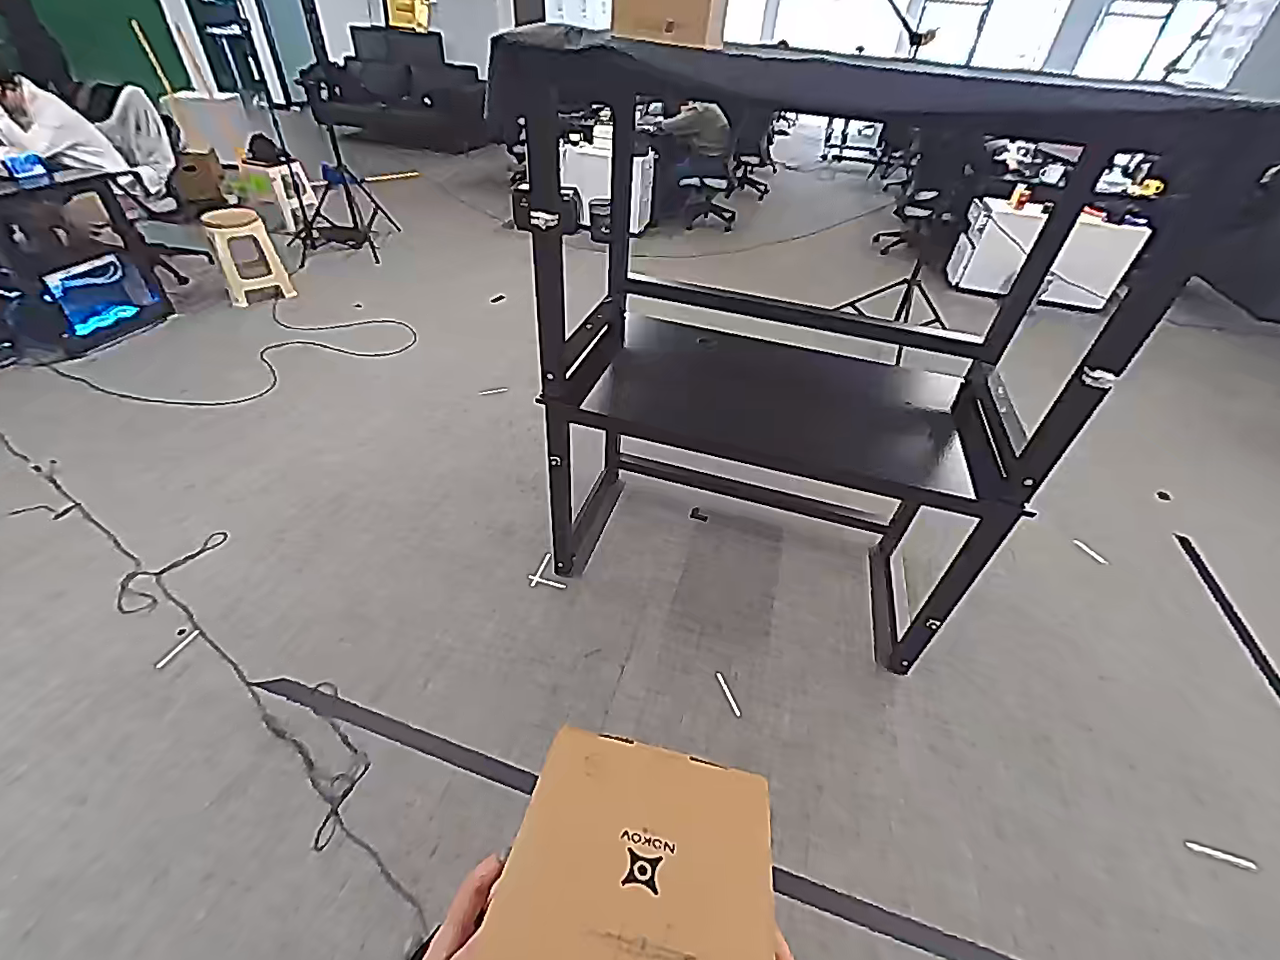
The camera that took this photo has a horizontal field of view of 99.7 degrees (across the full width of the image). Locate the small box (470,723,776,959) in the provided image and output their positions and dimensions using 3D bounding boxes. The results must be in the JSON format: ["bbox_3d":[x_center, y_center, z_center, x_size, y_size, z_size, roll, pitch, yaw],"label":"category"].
[{"bbox_3d":[-0.010,0.312,0.371,0.168,0.176,0.179,11,25,5],"label":"small box"}]

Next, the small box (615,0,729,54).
[{"bbox_3d":[0.060,-0.835,0.915,0.168,0.176,0.179,15,39,9],"label":"small box"}]
